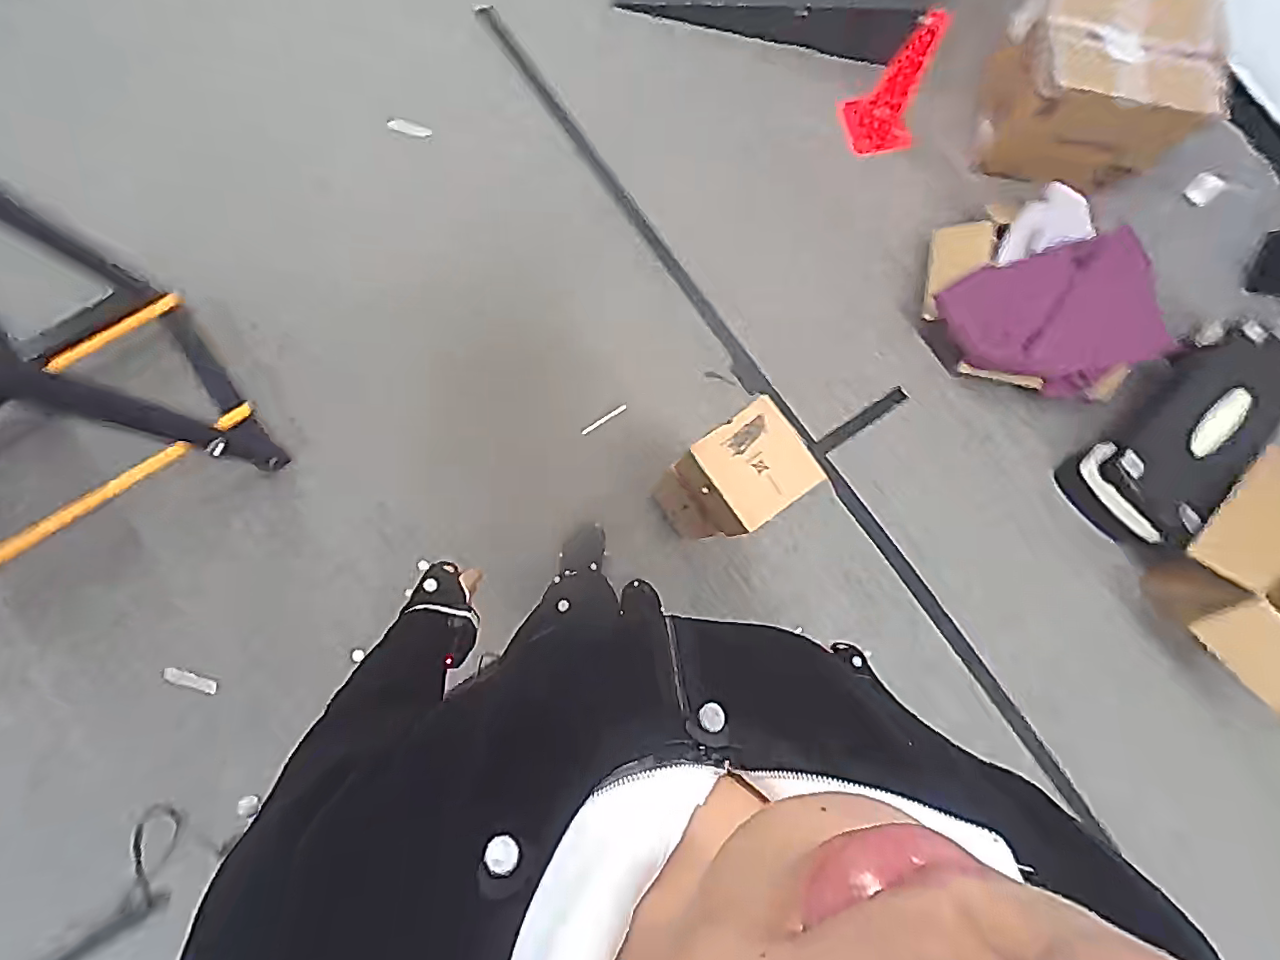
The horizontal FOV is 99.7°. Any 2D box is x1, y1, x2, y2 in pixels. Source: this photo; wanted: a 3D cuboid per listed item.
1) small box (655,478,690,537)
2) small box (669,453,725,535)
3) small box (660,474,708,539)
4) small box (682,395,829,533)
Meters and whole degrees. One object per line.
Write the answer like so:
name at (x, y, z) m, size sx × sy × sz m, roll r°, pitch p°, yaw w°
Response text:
small box at (0.156, 0.039, 1.459) m, size 0.179 × 0.176 × 0.168 m, roll -34°, pitch 85°, yaw -6°
small box at (0.172, 0.004, 1.132) m, size 0.179 × 0.176 × 0.168 m, roll -33°, pitch 85°, yaw -7°
small box at (0.164, 0.027, 1.294) m, size 0.179 × 0.176 × 0.168 m, roll -33°, pitch 84°, yaw -7°
small box at (0.194, -0.019, 0.969) m, size 0.168 × 0.176 × 0.179 m, roll -34°, pitch 86°, yaw -8°
